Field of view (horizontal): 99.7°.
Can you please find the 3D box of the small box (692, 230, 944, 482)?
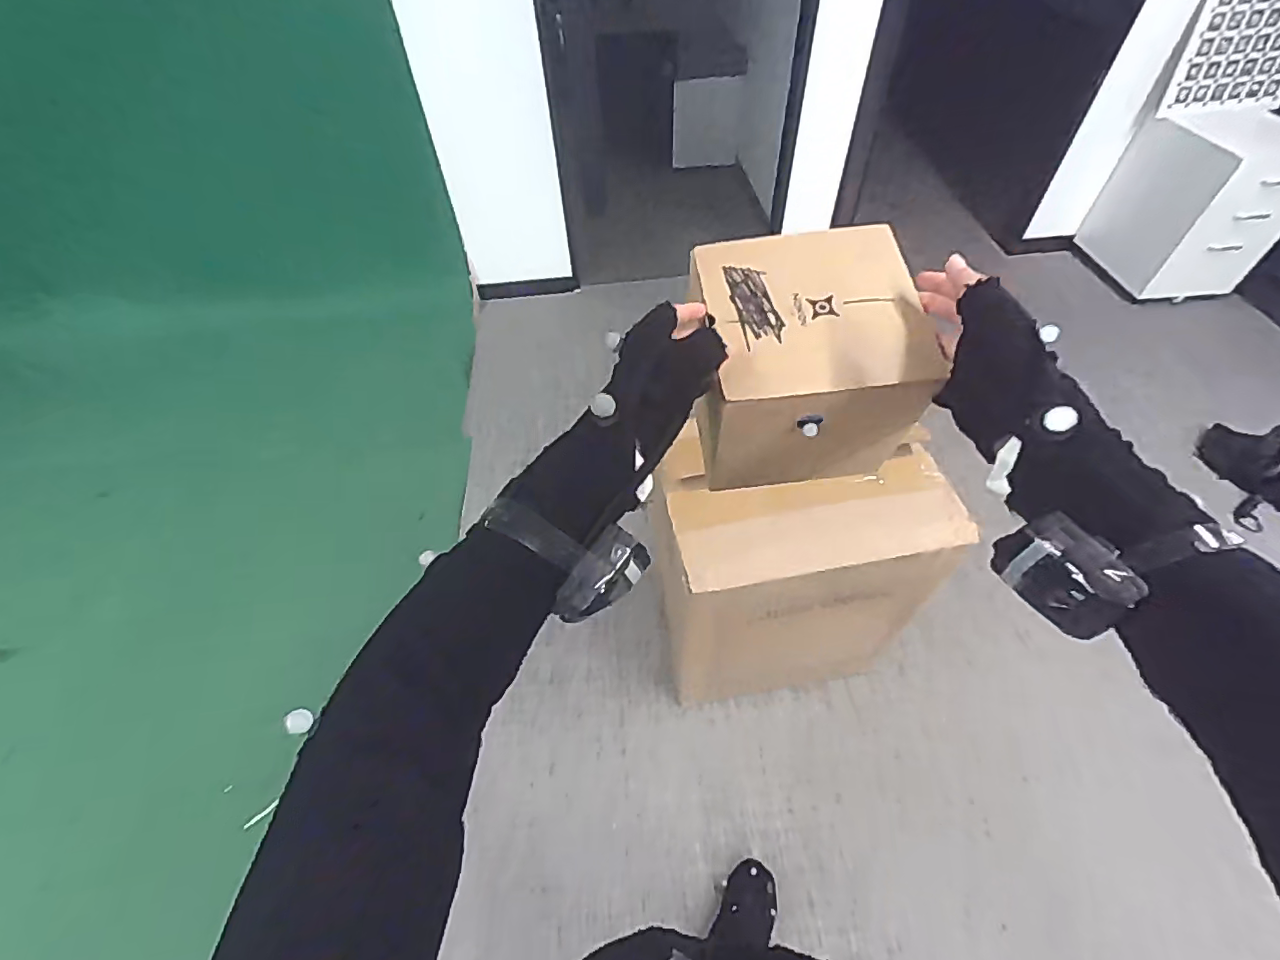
[{"bbox_3d":[0.146,-0.108,0.521,0.179,0.176,0.168,-6,66,-1],"label":"small box"}]
